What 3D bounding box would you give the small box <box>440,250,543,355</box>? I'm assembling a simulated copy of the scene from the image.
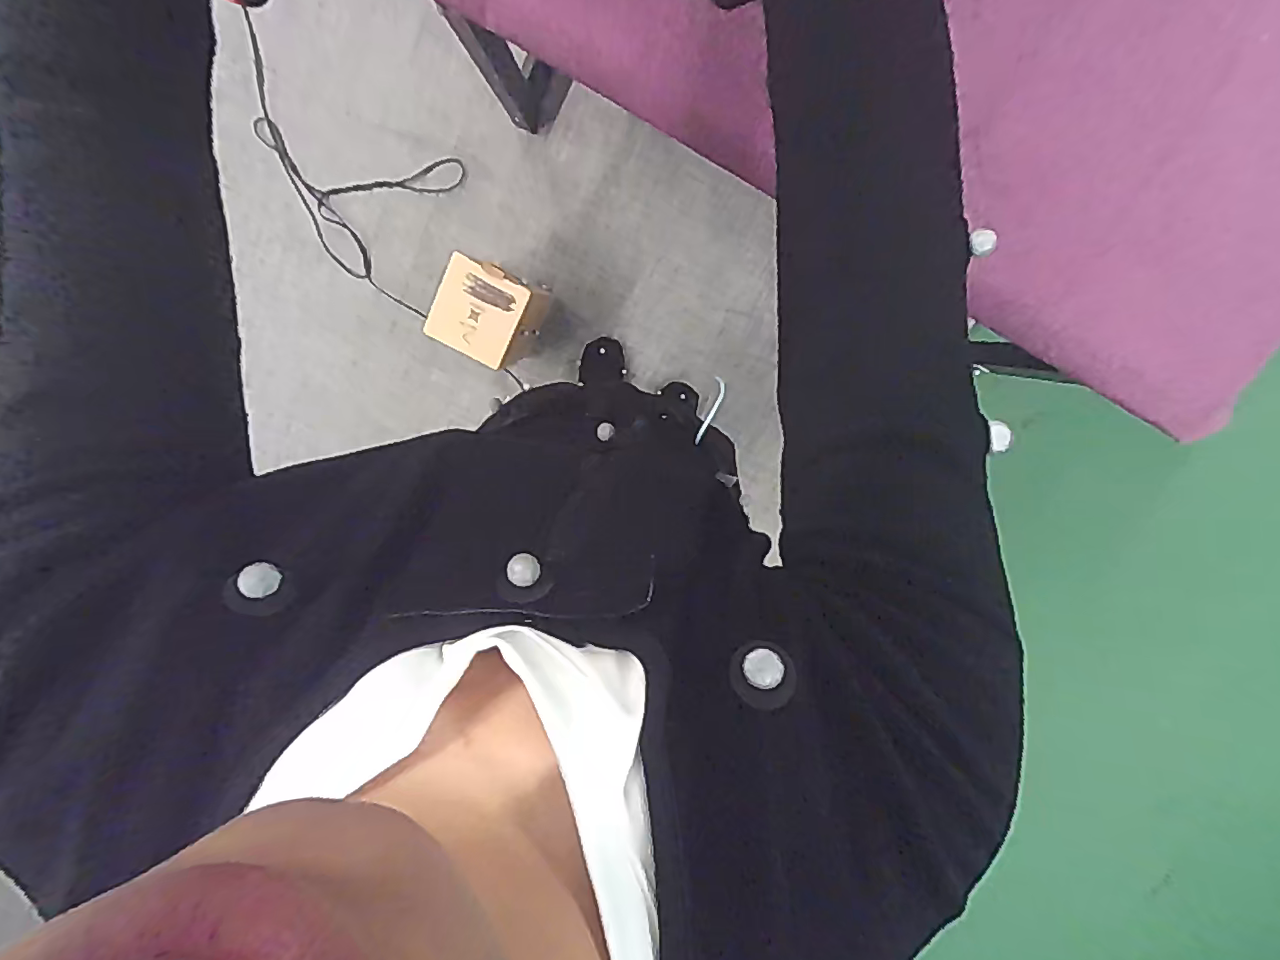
[{"bbox_3d":[-0.345,-0.423,1.296,0.168,0.176,0.179,28,105,-8],"label":"small box"}]
